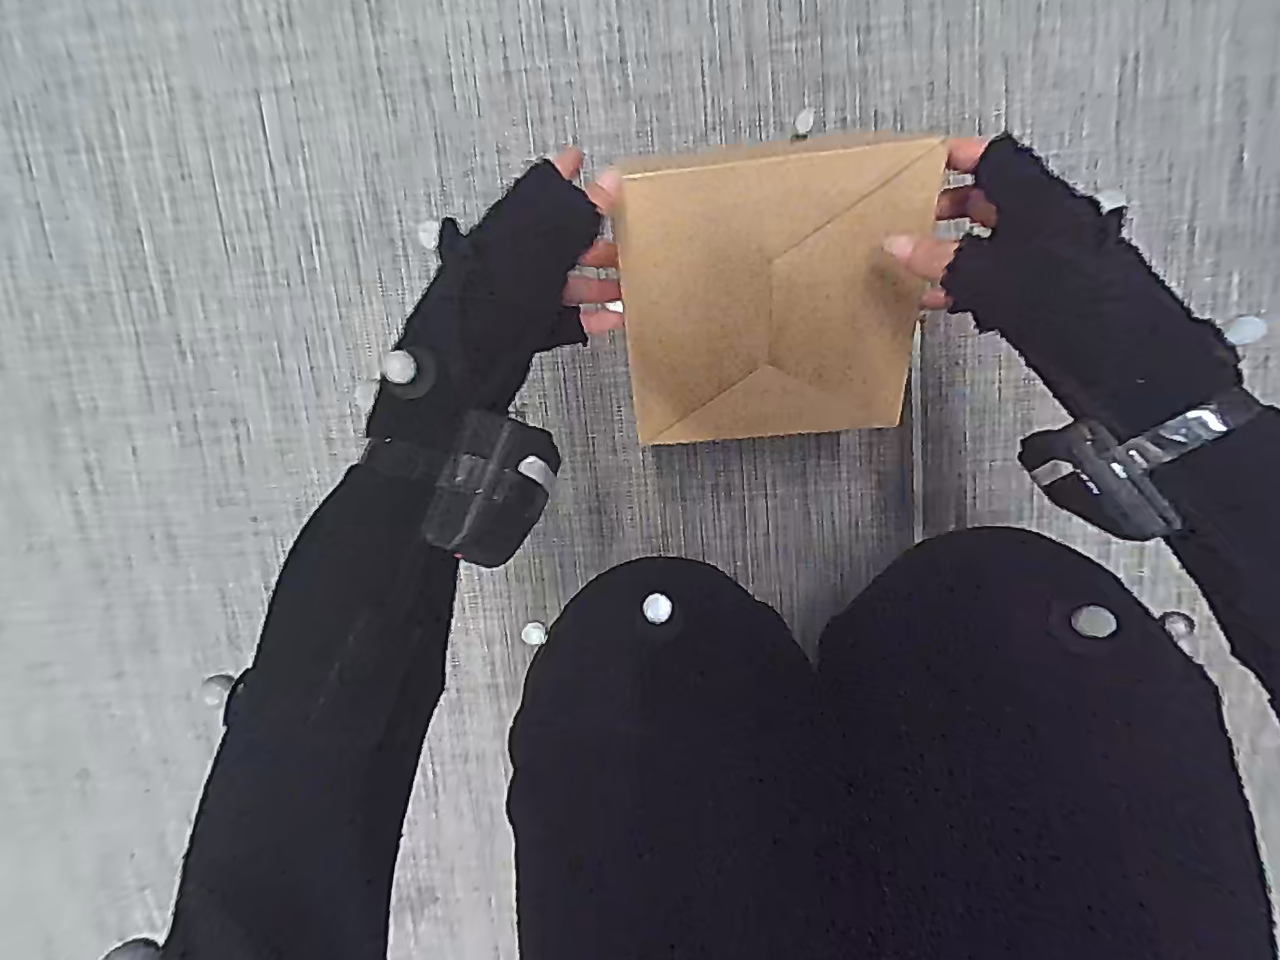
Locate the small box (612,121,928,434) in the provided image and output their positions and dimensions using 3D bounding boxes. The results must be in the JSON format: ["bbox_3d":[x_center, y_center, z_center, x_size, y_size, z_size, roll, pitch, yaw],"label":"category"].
[{"bbox_3d":[0.081,-0.146,0.387,0.179,0.176,0.168,-4,125,5],"label":"small box"}]
